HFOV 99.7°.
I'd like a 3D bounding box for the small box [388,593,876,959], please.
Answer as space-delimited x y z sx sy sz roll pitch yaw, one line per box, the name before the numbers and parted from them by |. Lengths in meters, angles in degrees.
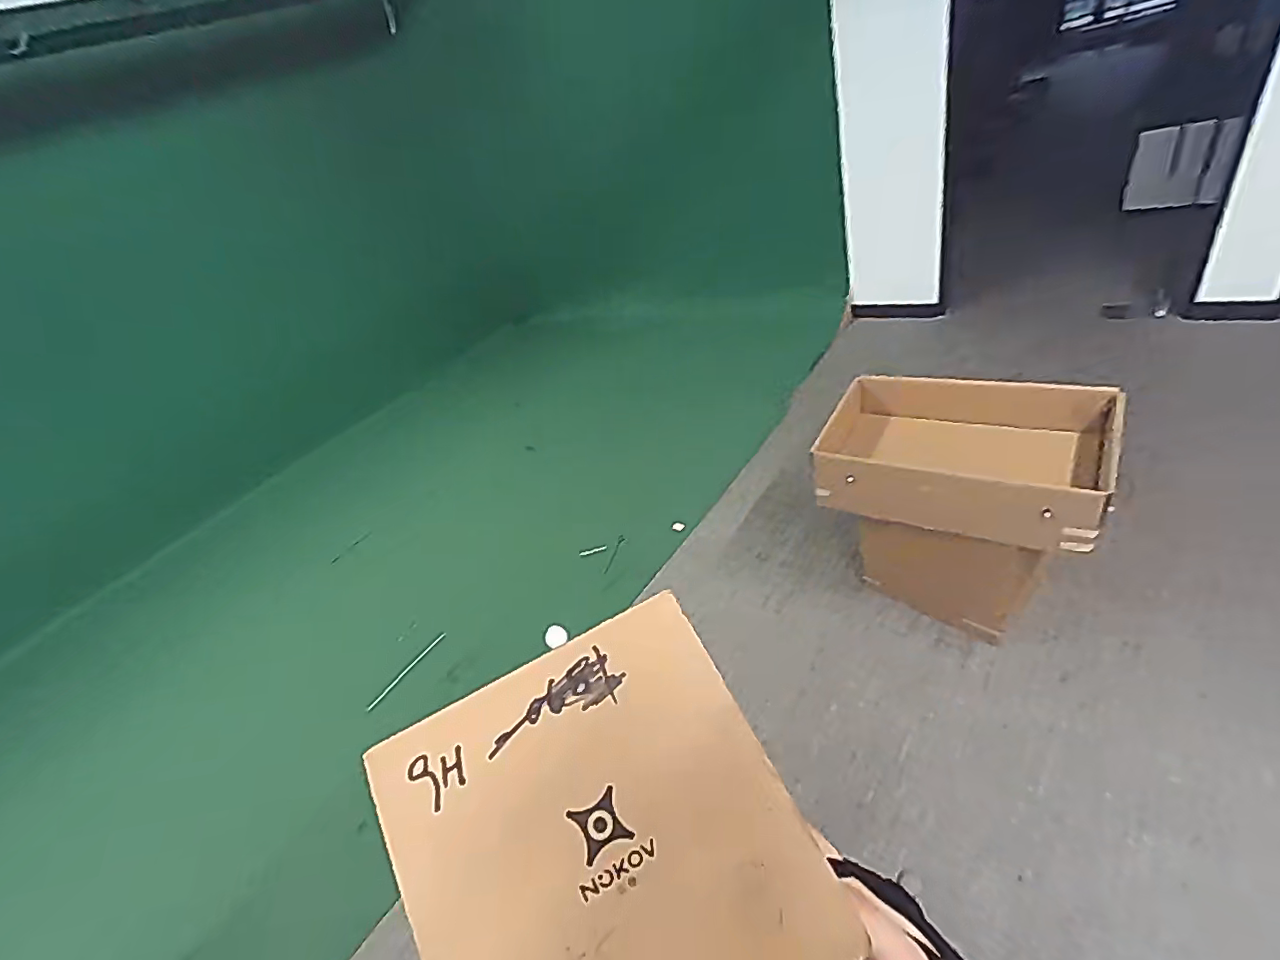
small box | -0.011 0.193 0.313 0.168 0.176 0.179 -24 69 -14
